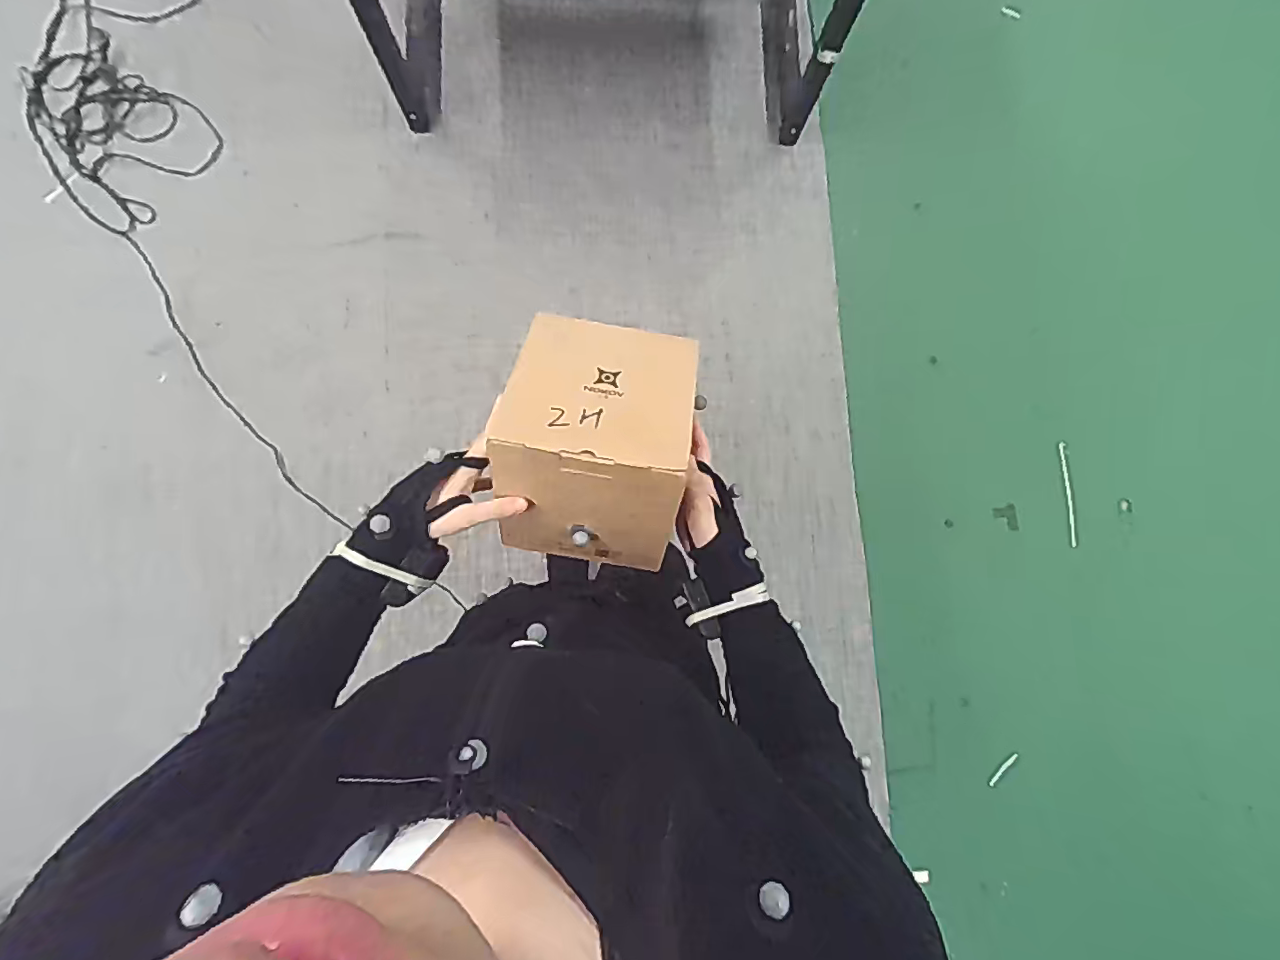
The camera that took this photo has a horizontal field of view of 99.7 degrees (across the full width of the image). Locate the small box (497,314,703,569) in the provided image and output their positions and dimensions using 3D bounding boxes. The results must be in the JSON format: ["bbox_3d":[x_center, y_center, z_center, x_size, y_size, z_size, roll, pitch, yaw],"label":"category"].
[{"bbox_3d":[-0.039,-0.035,0.553,0.168,0.176,0.179,11,53,-2],"label":"small box"}]
